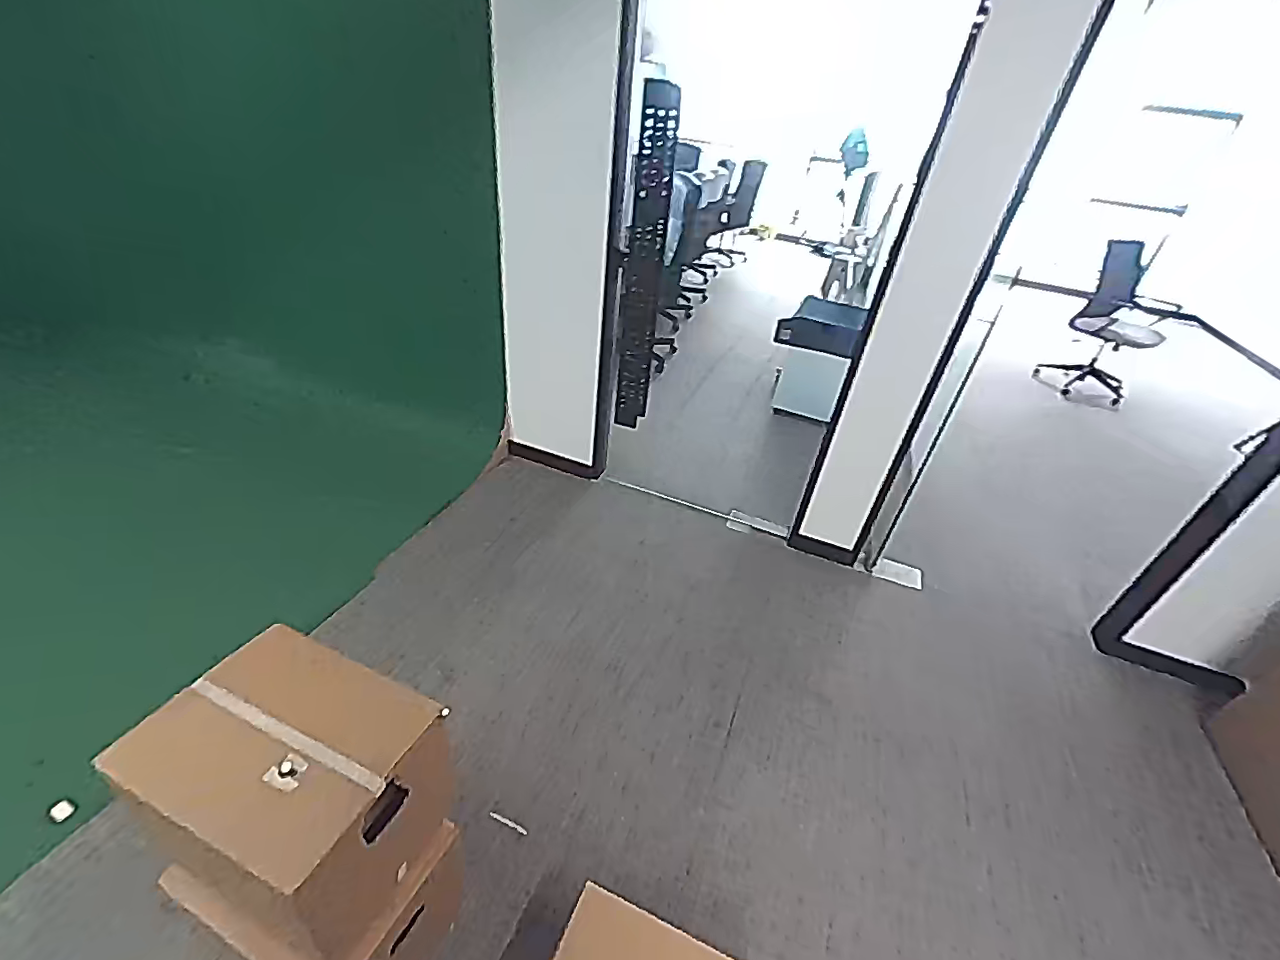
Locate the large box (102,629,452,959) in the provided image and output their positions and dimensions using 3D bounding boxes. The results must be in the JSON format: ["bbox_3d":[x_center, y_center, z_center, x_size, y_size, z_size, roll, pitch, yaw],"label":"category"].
[{"bbox_3d":[-0.598,0.542,0.963,0.408,0.320,0.320,19,33,15],"label":"large box"}]
